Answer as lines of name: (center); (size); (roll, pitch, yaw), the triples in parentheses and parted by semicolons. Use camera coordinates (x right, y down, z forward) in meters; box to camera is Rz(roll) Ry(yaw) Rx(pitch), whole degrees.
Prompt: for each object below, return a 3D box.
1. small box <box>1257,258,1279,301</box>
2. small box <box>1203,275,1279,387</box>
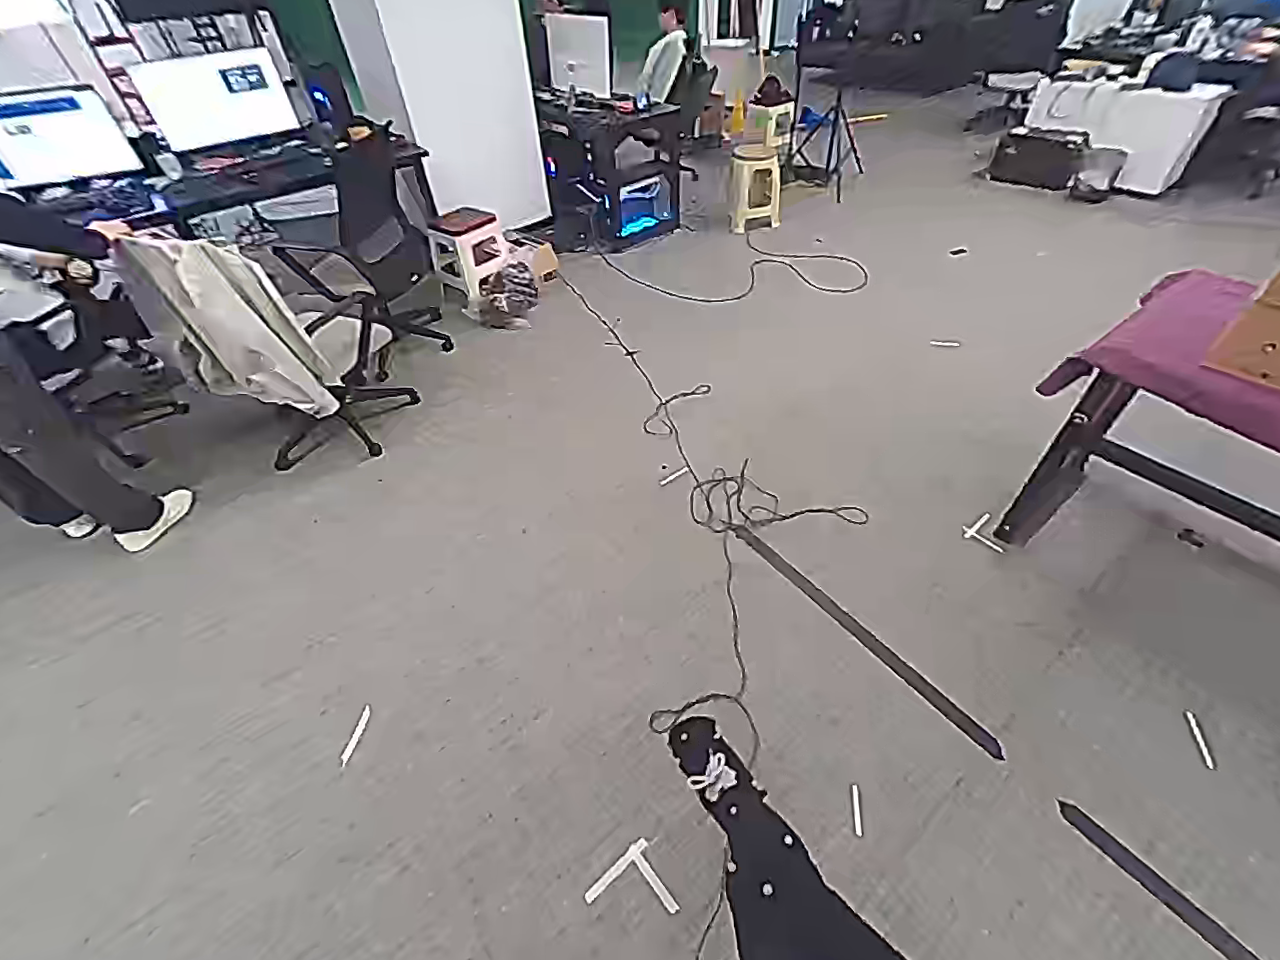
small box: (1.392, -0.436, 1.065); (0.179, 0.176, 0.168); (-35, 54, -28)
small box: (1.403, -0.327, 1.185); (0.179, 0.176, 0.168); (-33, 53, -27)
